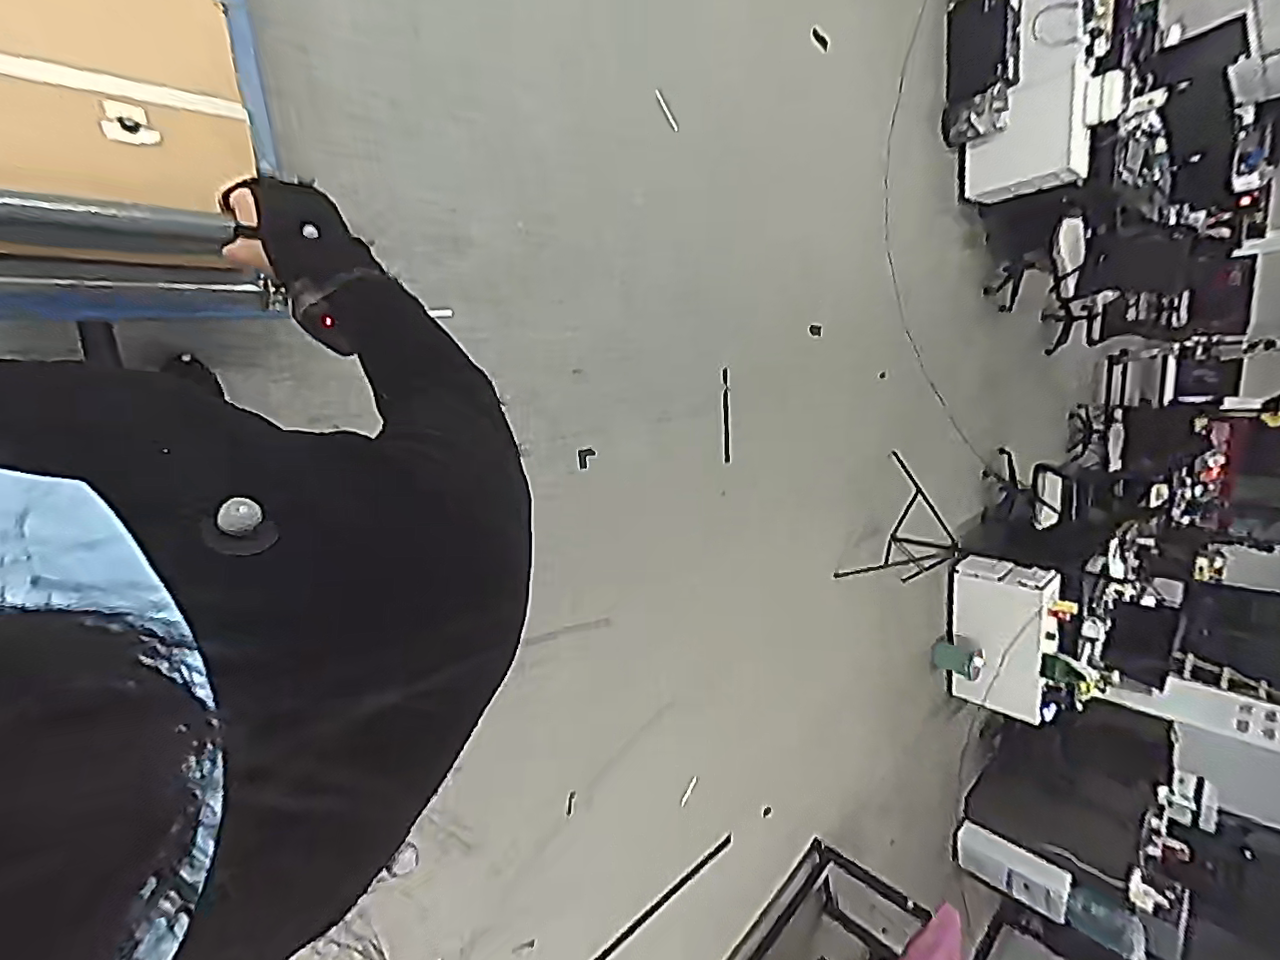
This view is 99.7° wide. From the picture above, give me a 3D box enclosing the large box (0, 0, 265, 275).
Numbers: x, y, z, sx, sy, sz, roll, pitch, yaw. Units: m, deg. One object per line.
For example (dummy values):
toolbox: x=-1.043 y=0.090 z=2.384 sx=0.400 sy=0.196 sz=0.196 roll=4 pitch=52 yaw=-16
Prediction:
large box: x=-0.830 y=-0.495 z=0.780 sx=0.408 sy=0.320 sz=0.320 roll=-13 pitch=104 yaw=-41
